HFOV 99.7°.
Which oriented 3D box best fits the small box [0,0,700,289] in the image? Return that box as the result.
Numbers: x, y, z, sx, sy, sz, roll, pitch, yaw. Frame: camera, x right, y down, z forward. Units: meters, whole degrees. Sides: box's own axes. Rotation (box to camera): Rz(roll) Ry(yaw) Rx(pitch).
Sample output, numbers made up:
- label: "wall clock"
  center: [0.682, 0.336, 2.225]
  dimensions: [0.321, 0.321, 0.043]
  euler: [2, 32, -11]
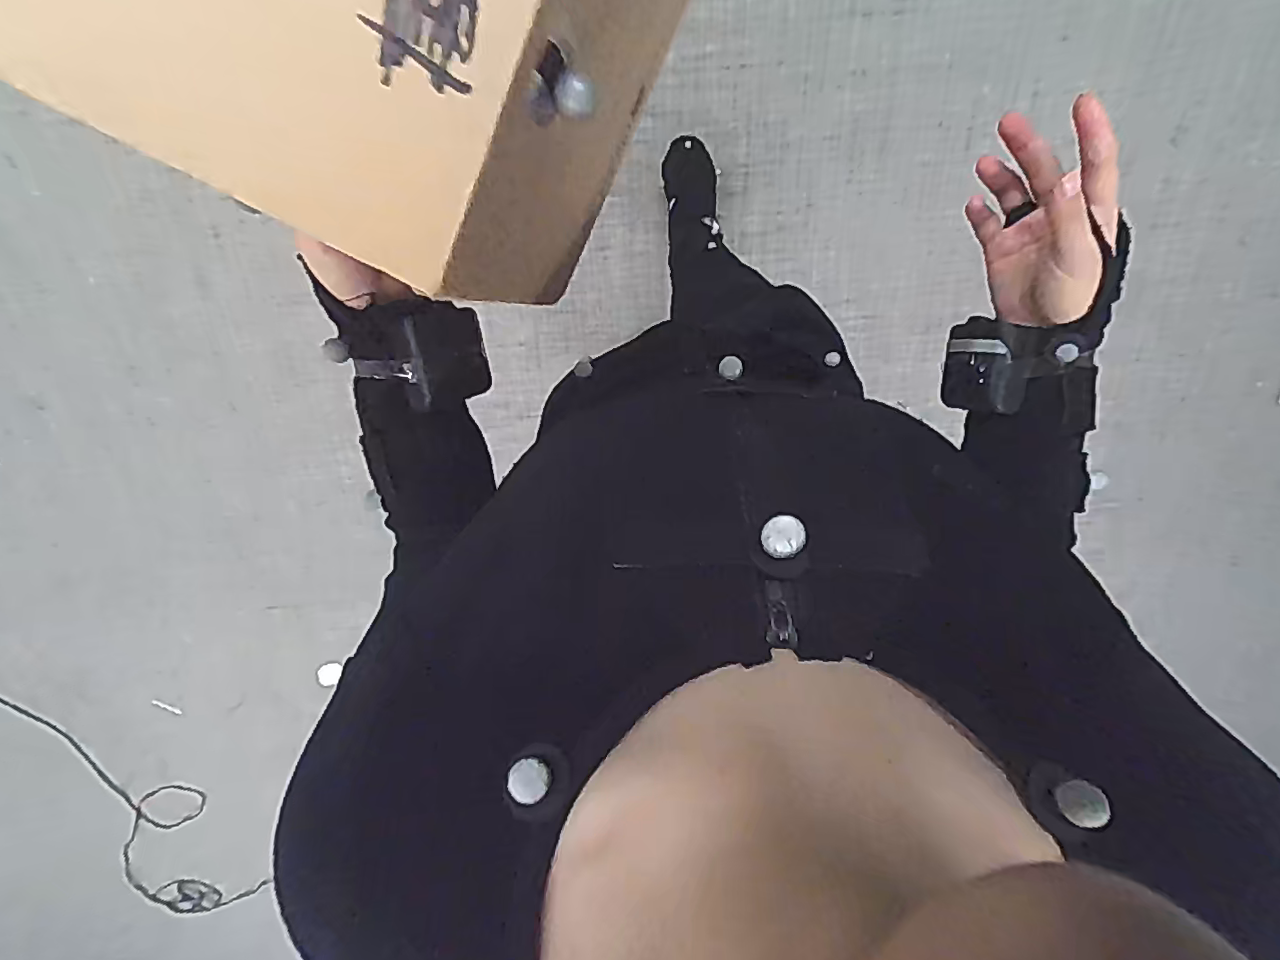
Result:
- label: "small box"
  center: [-0.085, -0.182, 0.201]
  dimensions: [0.179, 0.176, 0.168]
  euler: [25, 108, -4]
